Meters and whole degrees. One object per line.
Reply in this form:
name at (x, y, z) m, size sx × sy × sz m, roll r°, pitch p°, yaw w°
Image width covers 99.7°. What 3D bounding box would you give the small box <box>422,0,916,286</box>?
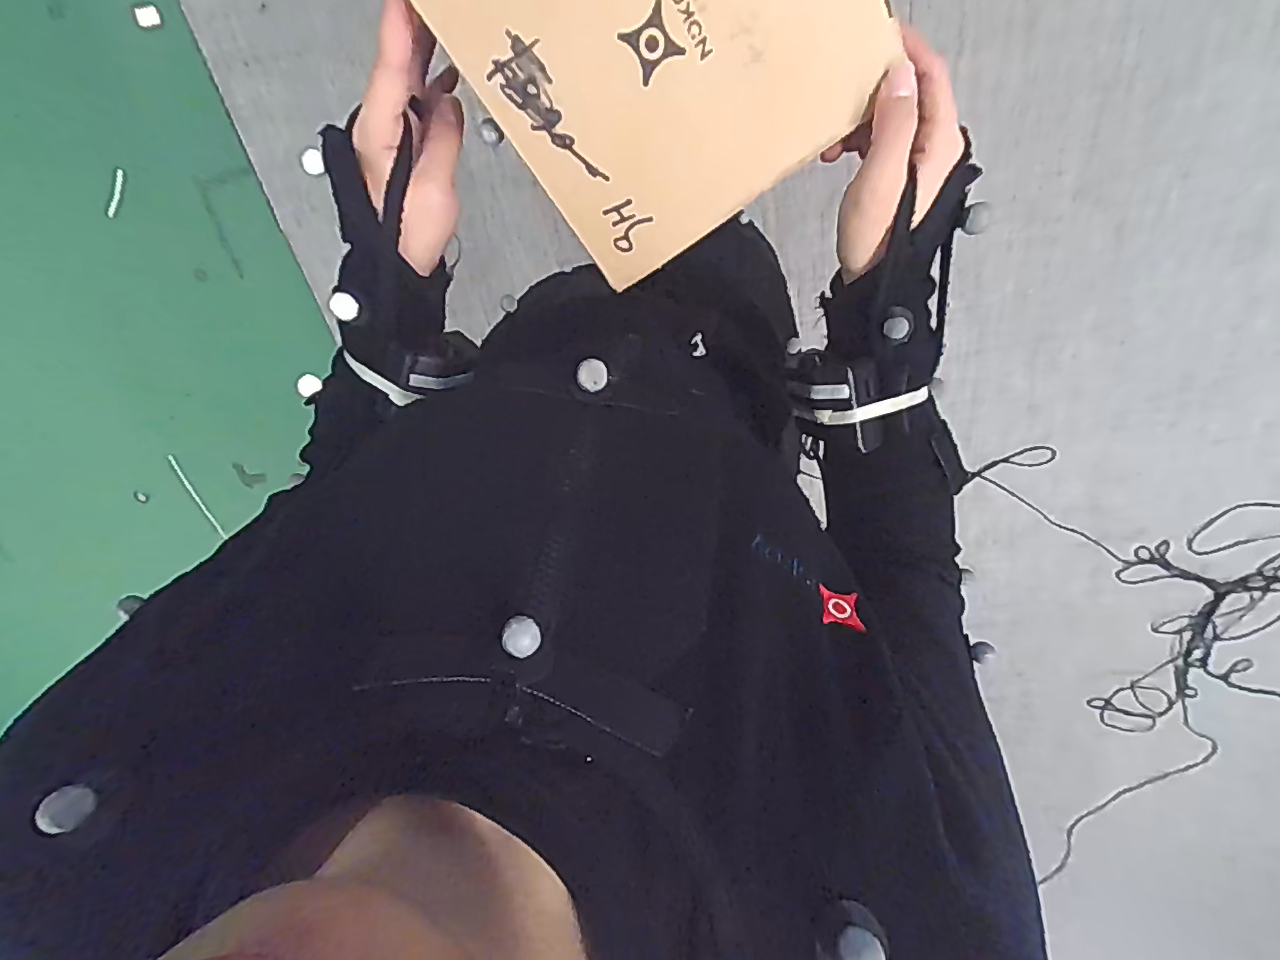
small box at (0.012, -0.249, 0.302) m, size 0.179 × 0.176 × 0.168 m, roll -30°, pitch 123°, yaw 18°
